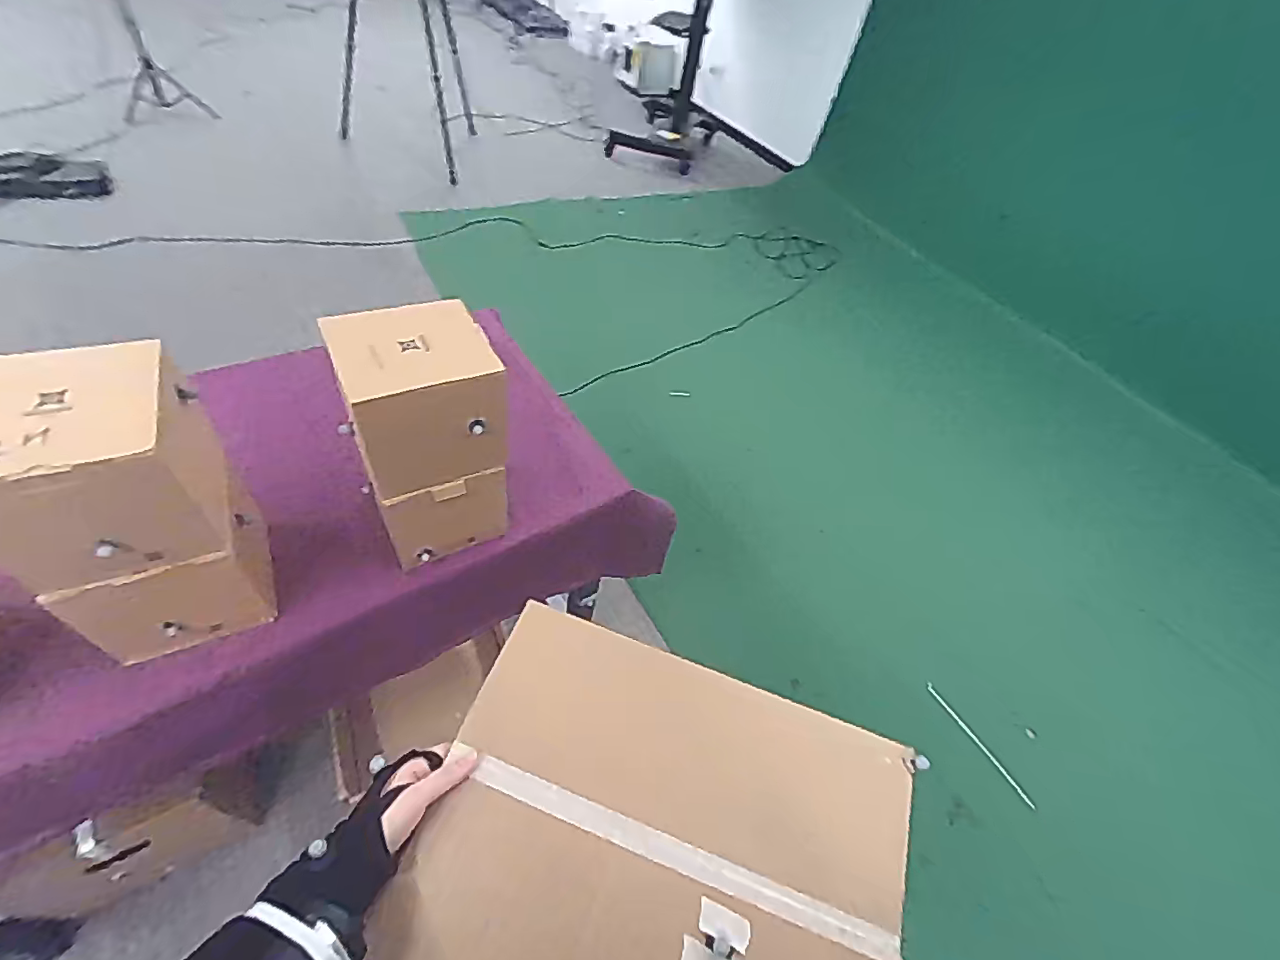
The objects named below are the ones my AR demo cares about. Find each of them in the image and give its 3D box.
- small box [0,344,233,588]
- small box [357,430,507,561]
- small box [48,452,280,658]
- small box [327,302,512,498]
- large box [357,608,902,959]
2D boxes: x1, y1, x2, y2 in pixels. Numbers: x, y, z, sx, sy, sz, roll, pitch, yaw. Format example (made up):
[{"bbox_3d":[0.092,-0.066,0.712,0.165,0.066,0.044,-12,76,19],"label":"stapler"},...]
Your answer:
[{"bbox_3d":[-0.559,-0.016,0.570,0.168,0.176,0.179,-14,56,-23],"label":"small box"},{"bbox_3d":[-0.310,0.003,0.828,0.168,0.176,0.179,-19,56,-26],"label":"small box"},{"bbox_3d":[-0.585,0.094,0.690,0.168,0.176,0.179,-15,56,-24],"label":"small box"},{"bbox_3d":[-0.280,-0.105,0.708,0.179,0.176,0.168,-19,56,-26],"label":"small box"},{"bbox_3d":[0.006,0.393,0.589,0.408,0.320,0.320,19,57,8],"label":"large box"}]
